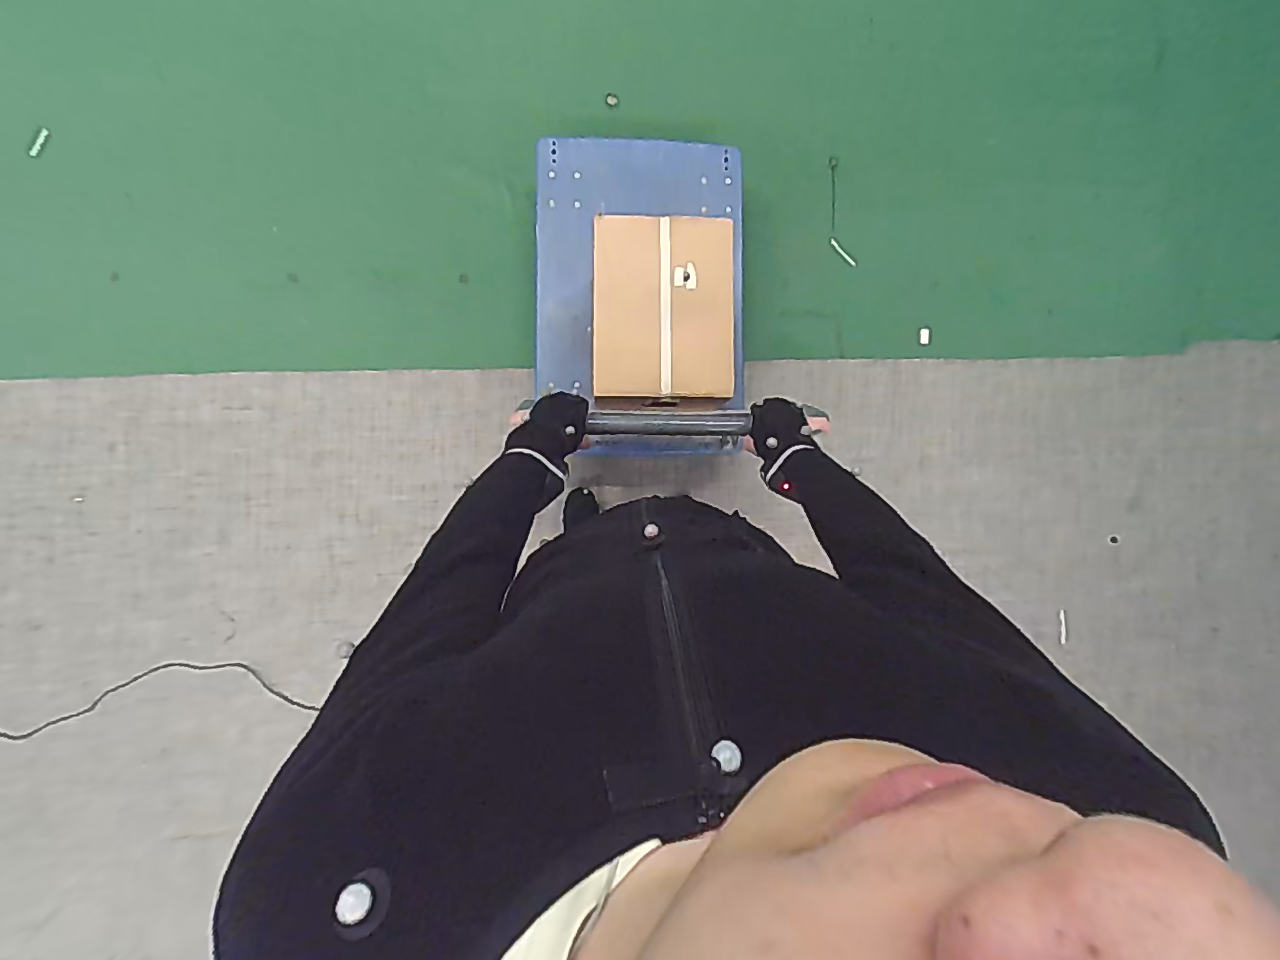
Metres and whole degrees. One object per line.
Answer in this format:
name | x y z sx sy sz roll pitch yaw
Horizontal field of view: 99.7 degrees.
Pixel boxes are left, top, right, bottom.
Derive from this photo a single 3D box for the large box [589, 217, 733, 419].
large box | 0.037 -0.374 1.339 0.320 0.320 0.408 -1 87 -5
